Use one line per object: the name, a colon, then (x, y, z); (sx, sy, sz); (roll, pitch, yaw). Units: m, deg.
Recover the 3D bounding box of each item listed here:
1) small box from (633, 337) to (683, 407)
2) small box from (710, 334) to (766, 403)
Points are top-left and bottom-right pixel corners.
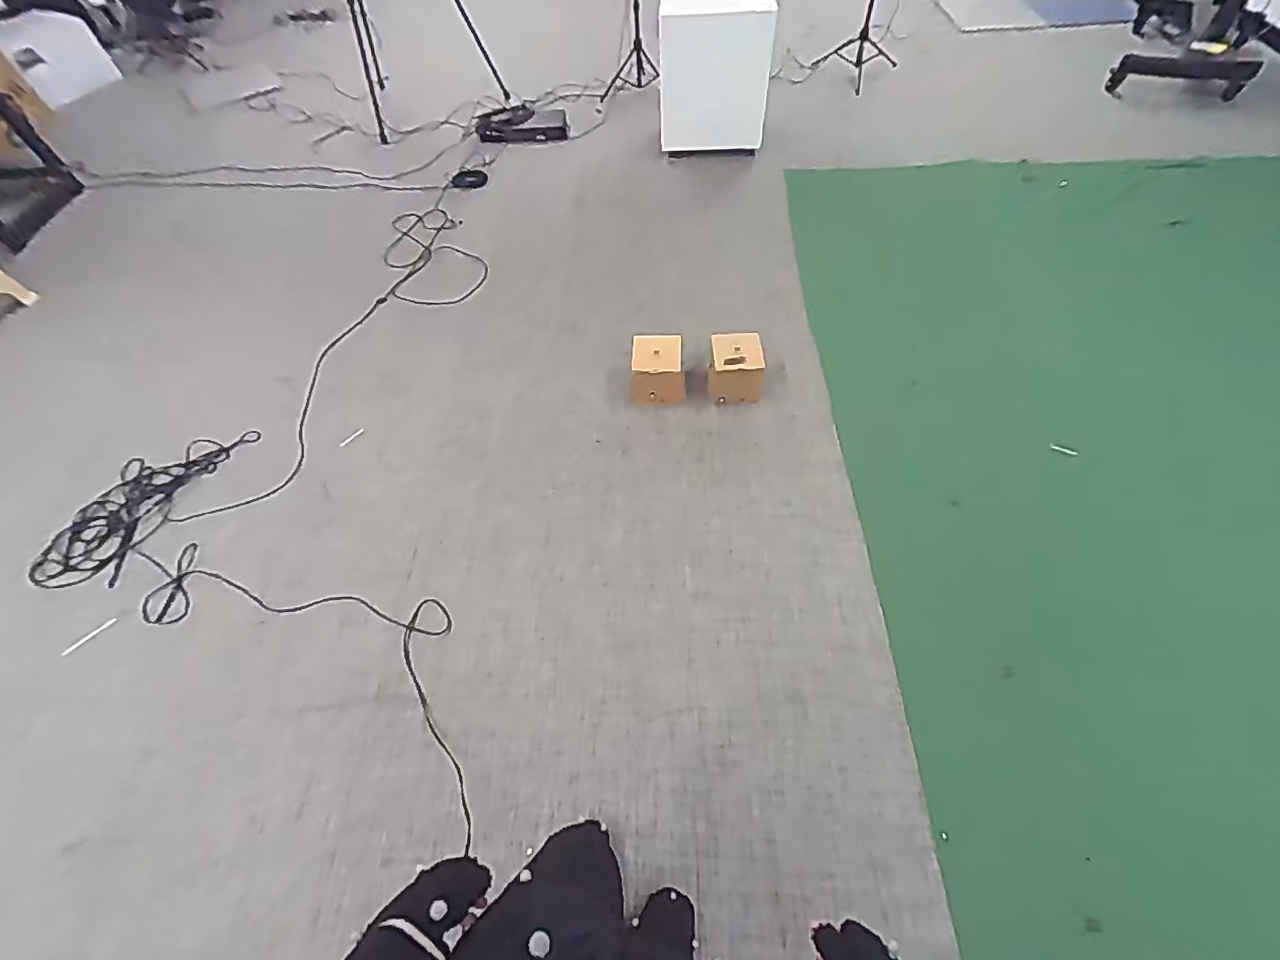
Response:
small box: (0.065, -0.377, 1.884); (0.168, 0.176, 0.179); (1, 57, 3)
small box: (0.334, -0.379, 1.870); (0.168, 0.176, 0.179); (-2, 56, 2)
